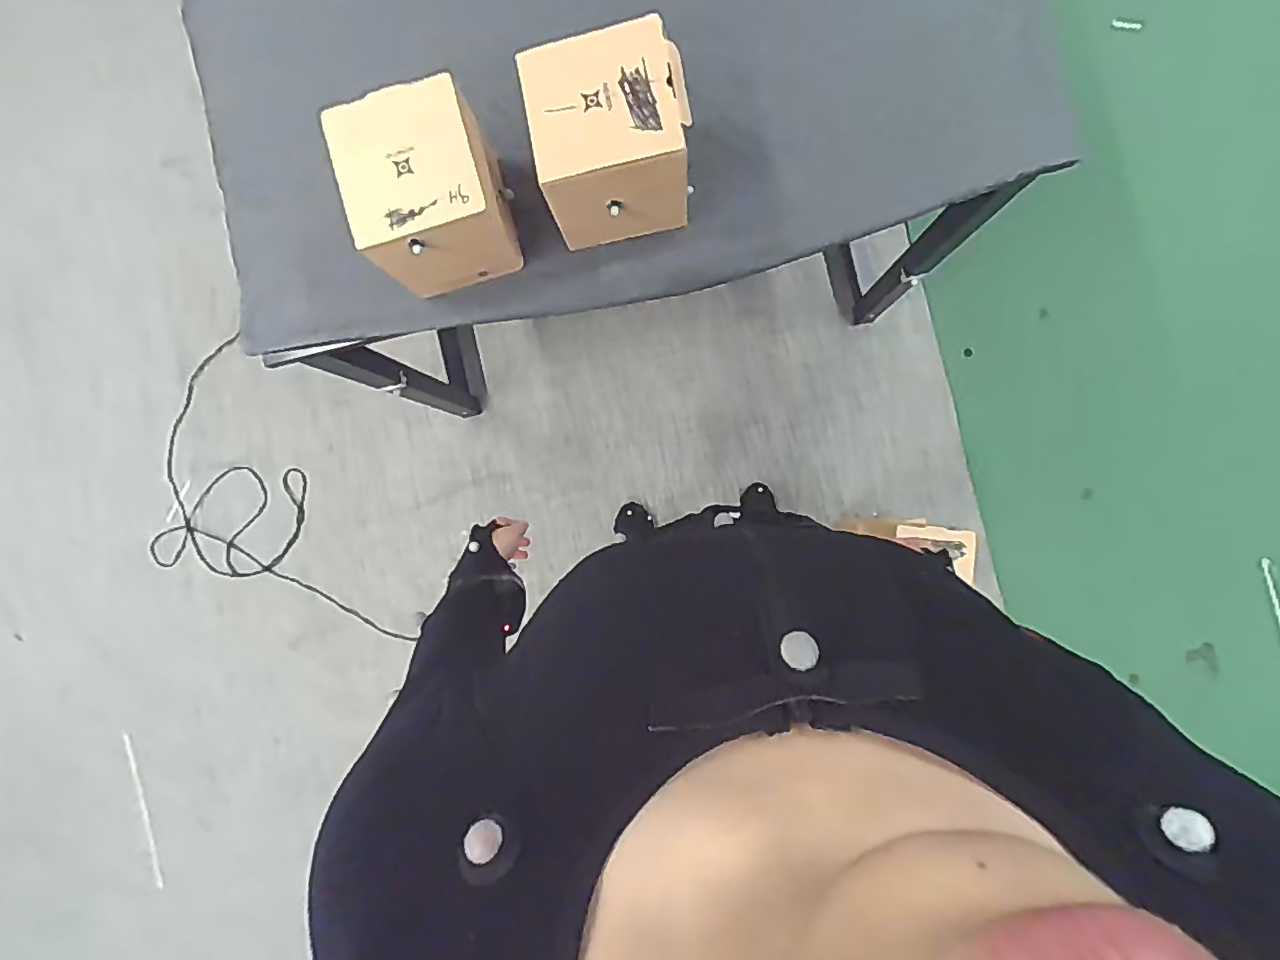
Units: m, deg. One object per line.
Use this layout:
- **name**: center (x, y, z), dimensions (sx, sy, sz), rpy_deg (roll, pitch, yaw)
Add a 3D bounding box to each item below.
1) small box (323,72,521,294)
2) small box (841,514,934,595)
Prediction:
- **small box**: center (-0.273, -0.375, 0.713), dimensions (0.168, 0.176, 0.179), rpy_deg (-15, 88, 4)
- **small box**: center (0.619, 0.183, 1.370), dimensions (0.168, 0.176, 0.179), rpy_deg (-5, 89, 4)
